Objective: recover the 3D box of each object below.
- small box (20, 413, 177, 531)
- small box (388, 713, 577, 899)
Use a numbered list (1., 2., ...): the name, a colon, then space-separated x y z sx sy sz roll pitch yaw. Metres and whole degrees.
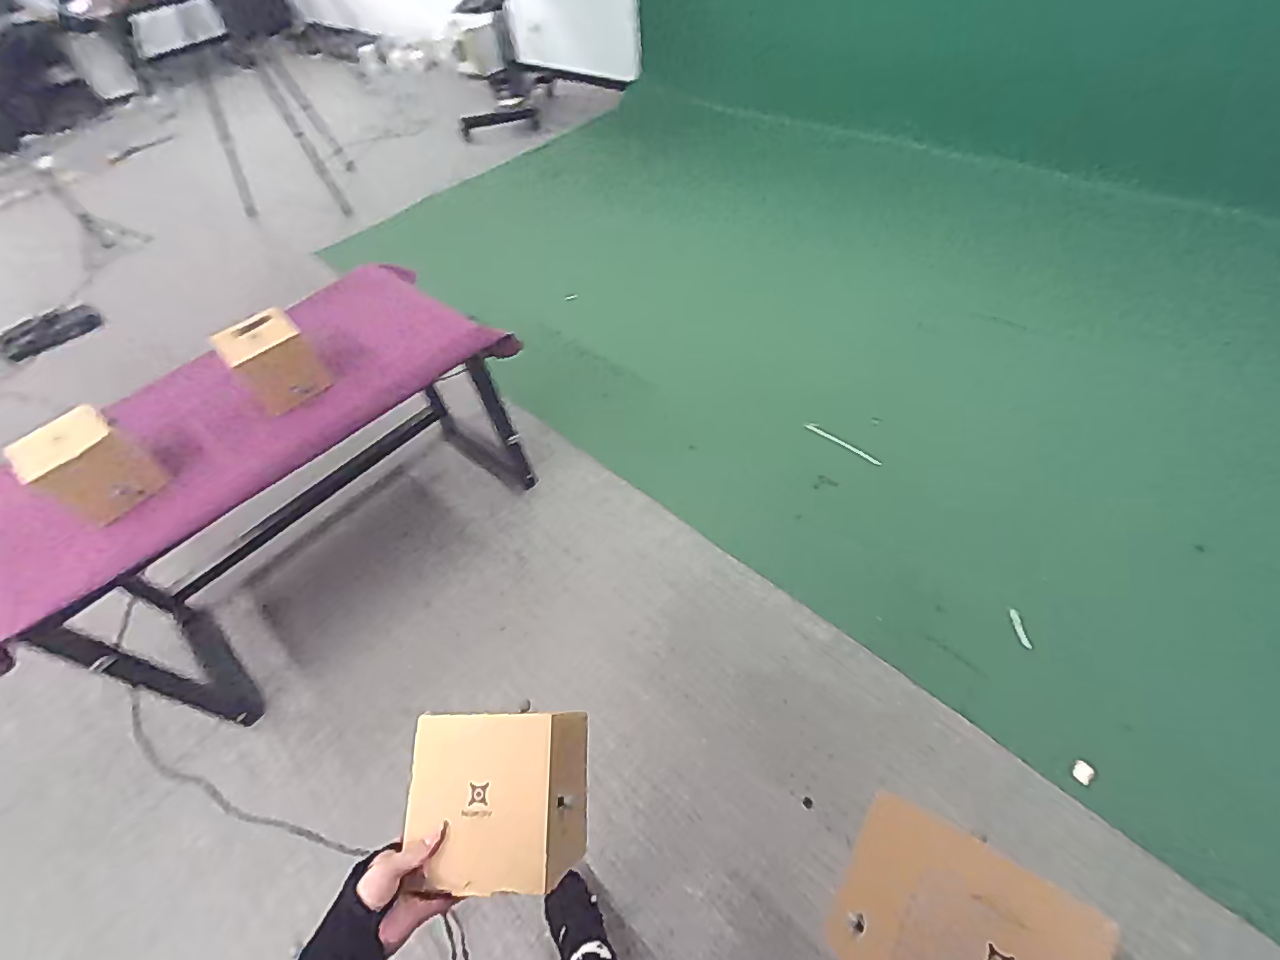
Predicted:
1. small box: -1.214 -0.015 1.222 0.179 0.176 0.168 29 61 28
2. small box: -0.178 0.386 0.668 0.168 0.176 0.179 -5 67 6
